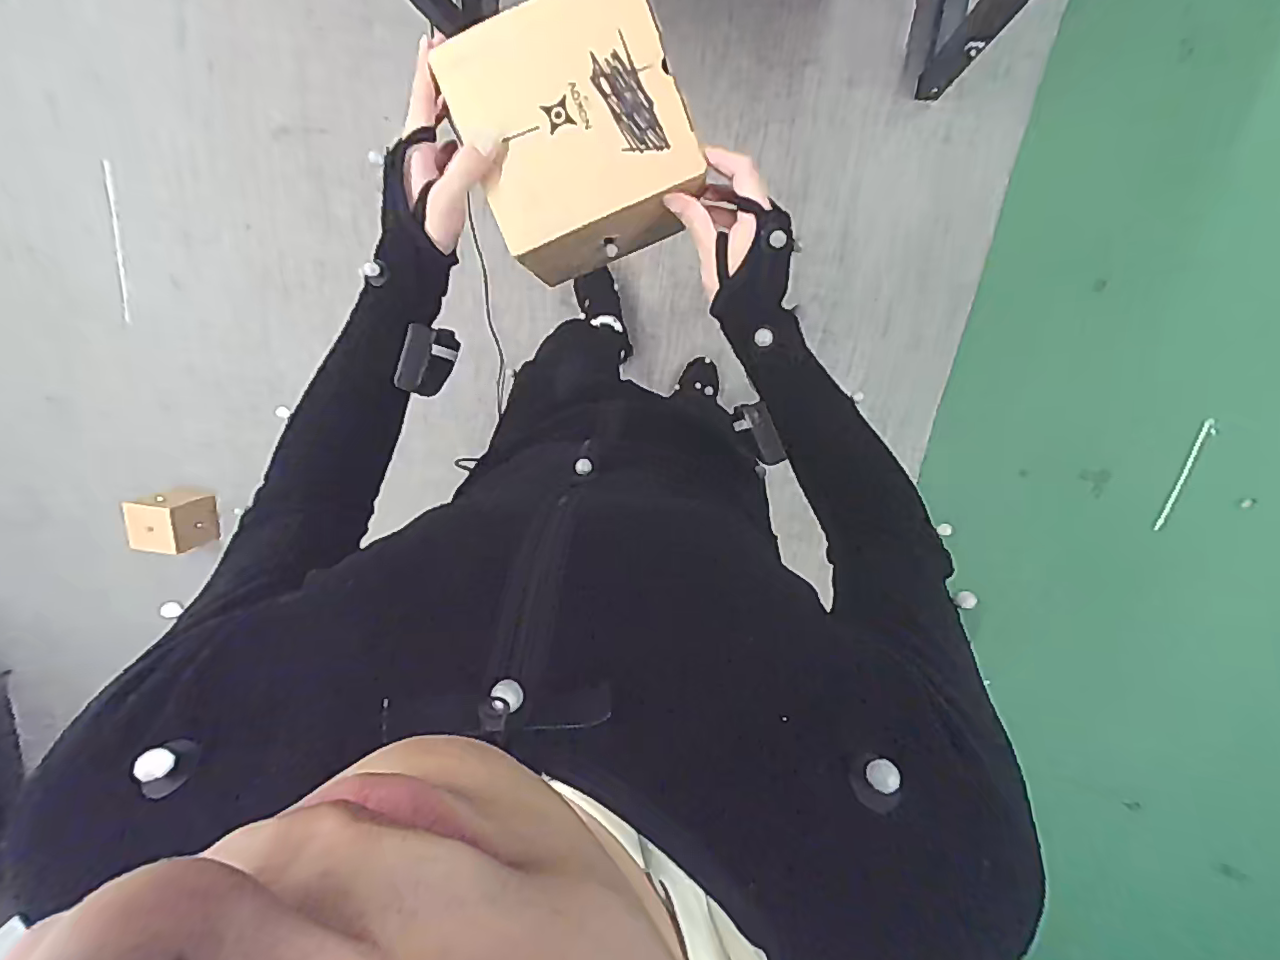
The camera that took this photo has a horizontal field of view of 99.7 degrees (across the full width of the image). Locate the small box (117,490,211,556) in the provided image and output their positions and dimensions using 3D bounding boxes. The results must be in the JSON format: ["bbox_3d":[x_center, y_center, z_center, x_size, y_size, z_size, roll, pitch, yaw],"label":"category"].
[{"bbox_3d":[-1.597,0.140,1.830,0.179,0.176,0.168,7,106,6],"label":"small box"}]
